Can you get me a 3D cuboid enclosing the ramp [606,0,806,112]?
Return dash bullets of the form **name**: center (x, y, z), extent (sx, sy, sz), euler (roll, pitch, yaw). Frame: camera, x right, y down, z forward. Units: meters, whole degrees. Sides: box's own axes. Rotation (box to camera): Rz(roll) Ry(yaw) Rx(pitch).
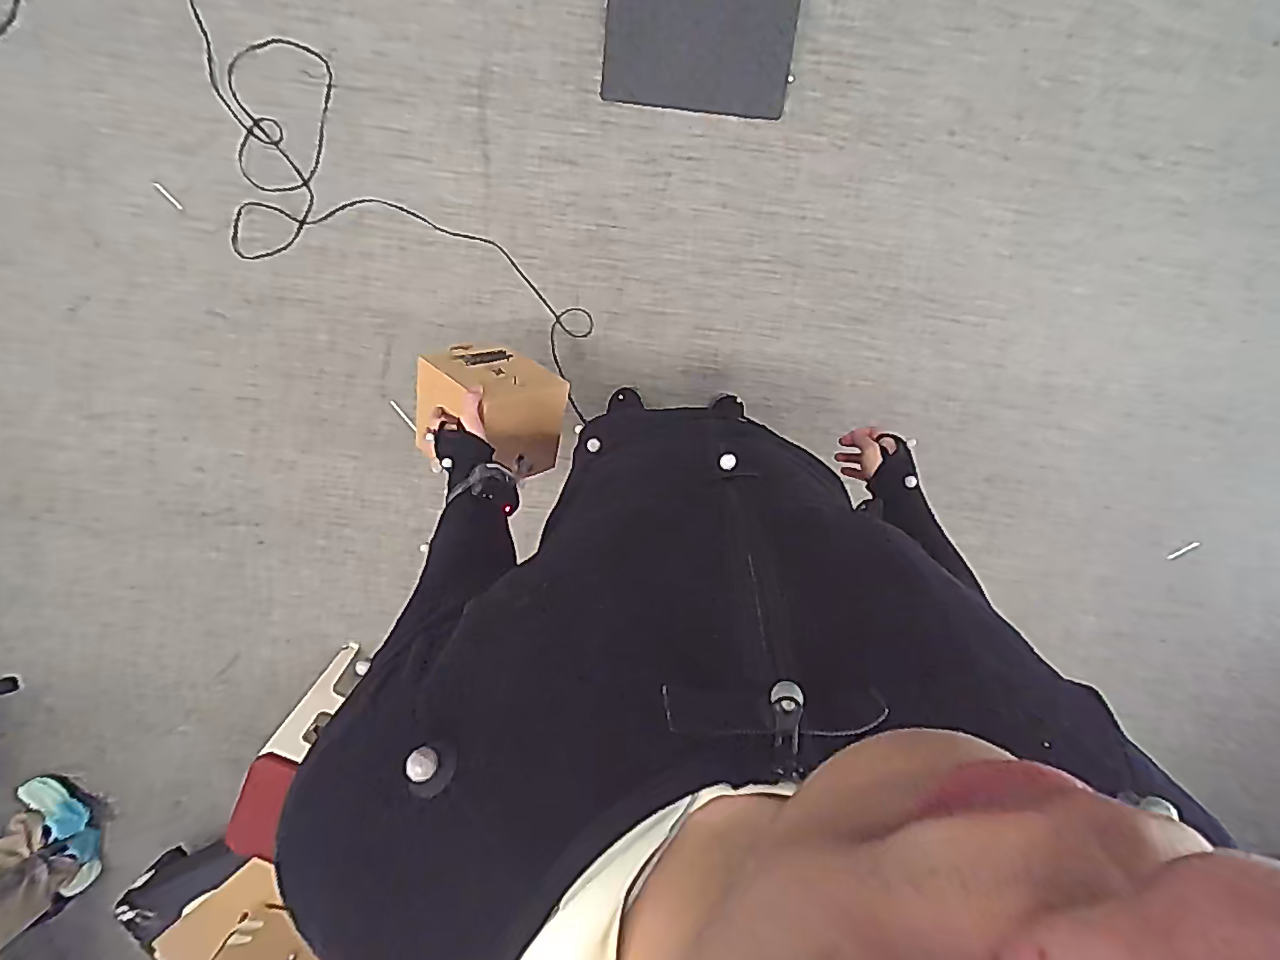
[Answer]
- **ramp**: center (0.201, -1.463, 1.258), extent (0.509, 0.206, 0.991), euler (5, 101, -1)
